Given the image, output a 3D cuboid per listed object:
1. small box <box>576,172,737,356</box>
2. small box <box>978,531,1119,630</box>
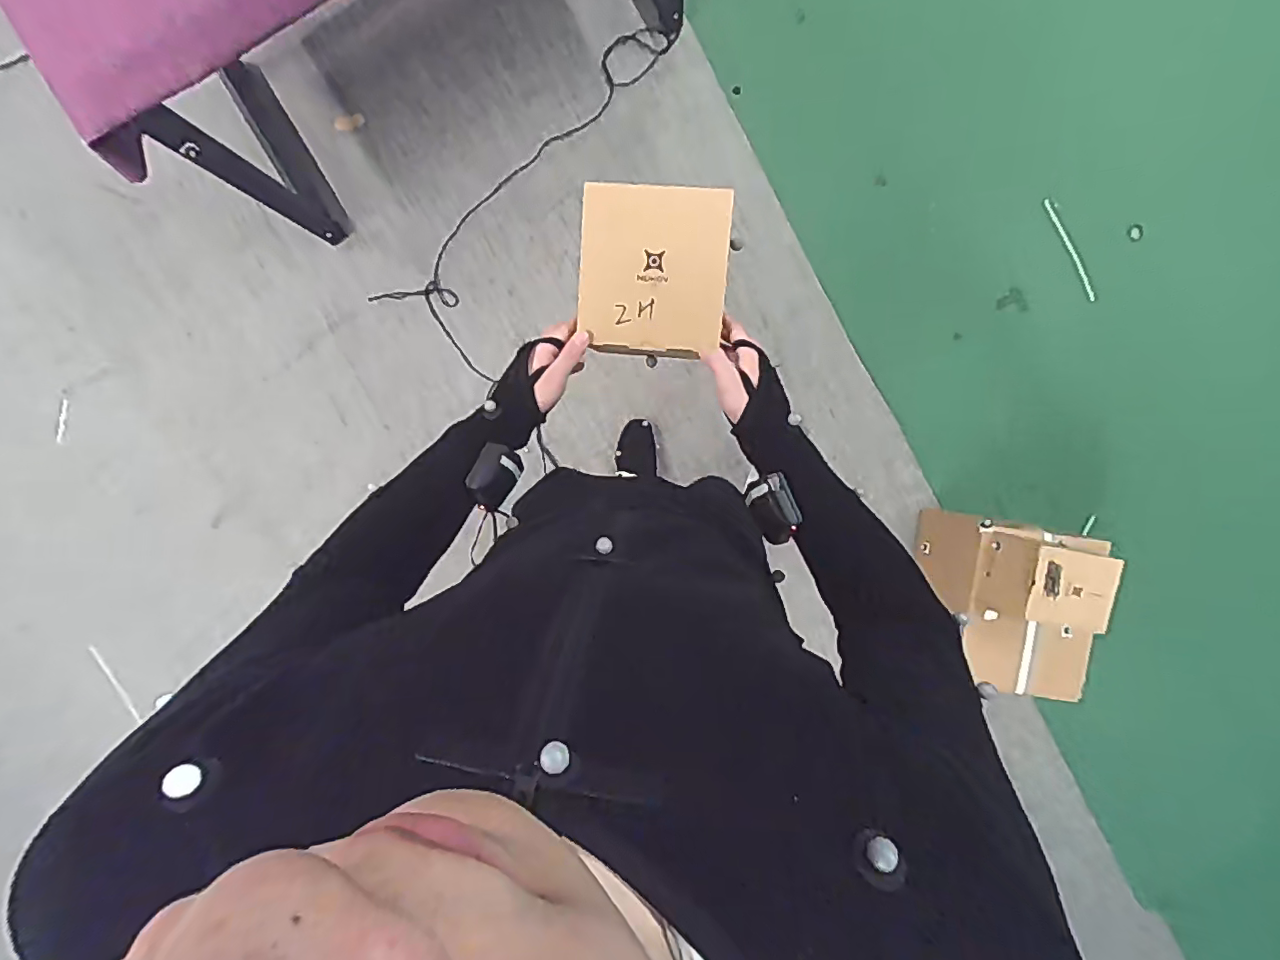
[{"bbox_3d":[0.021,-0.254,0.673,0.168,0.176,0.179,5,100,4],"label":"small box"},{"bbox_3d":[0.908,0.218,1.221,0.179,0.176,0.168,10,96,0],"label":"small box"}]
